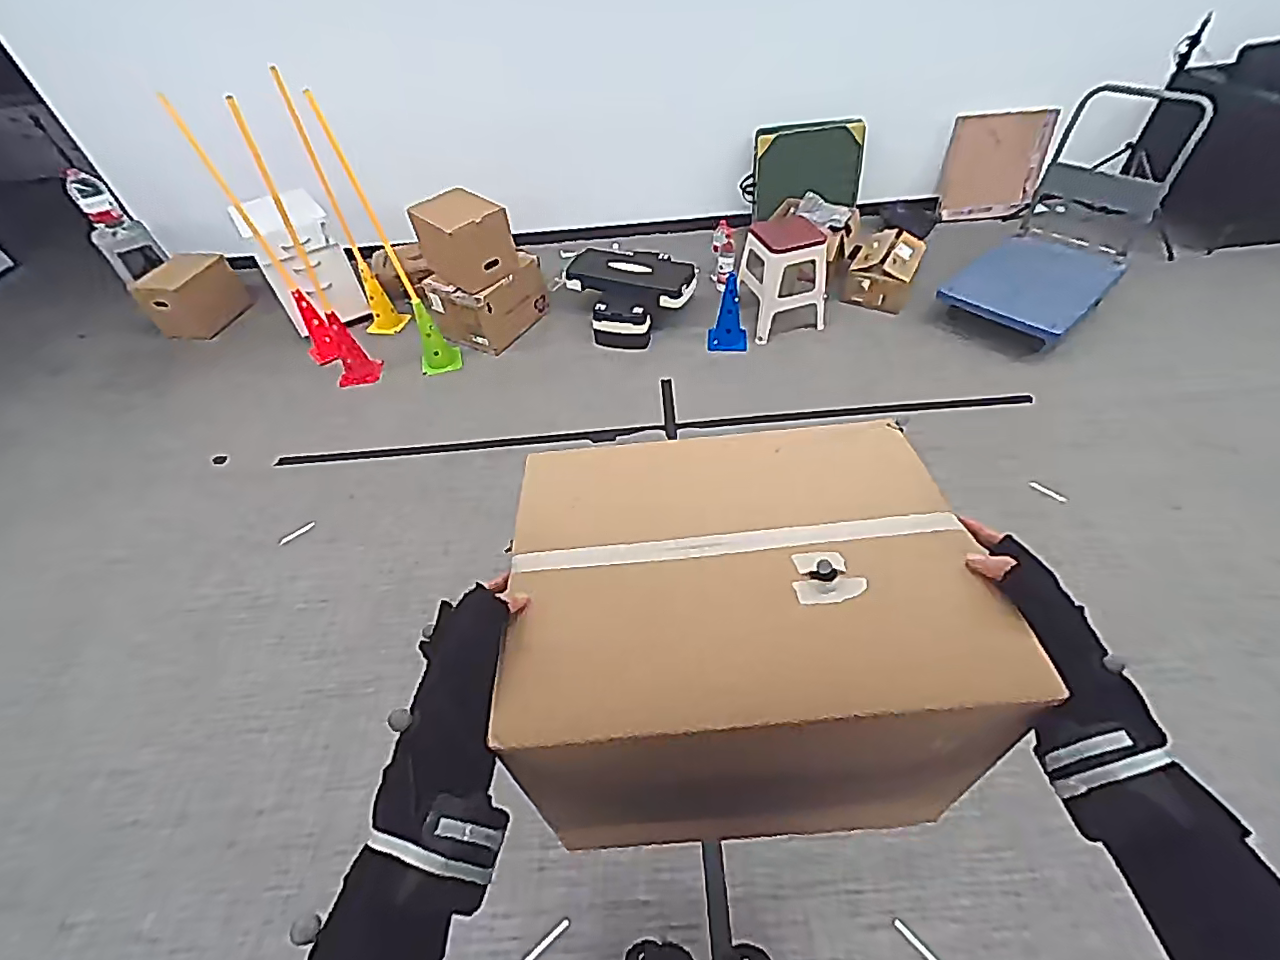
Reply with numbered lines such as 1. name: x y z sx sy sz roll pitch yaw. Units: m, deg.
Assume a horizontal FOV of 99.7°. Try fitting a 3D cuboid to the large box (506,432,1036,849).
1. large box: 0.097 0.178 0.605 0.408 0.320 0.320 -6 44 1
